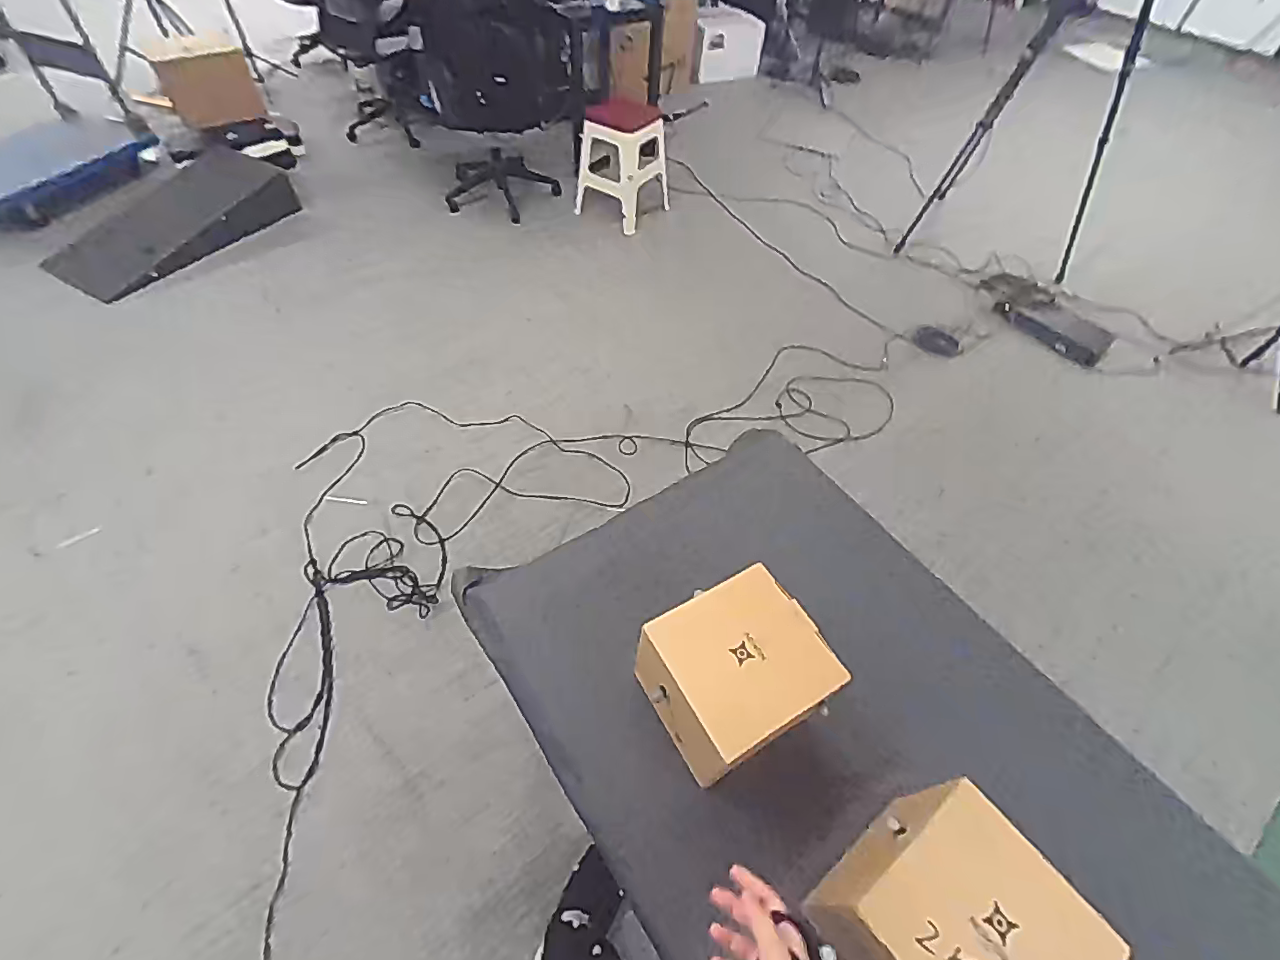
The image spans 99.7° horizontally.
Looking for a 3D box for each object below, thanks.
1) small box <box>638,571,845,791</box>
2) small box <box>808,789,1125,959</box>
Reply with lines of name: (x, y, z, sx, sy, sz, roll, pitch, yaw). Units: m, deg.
small box: (0.109, 0.250, 0.665, 0.179, 0.176, 0.168, -23, 57, -22)
small box: (0.296, 0.443, 0.527, 0.179, 0.176, 0.168, -28, 59, -24)
